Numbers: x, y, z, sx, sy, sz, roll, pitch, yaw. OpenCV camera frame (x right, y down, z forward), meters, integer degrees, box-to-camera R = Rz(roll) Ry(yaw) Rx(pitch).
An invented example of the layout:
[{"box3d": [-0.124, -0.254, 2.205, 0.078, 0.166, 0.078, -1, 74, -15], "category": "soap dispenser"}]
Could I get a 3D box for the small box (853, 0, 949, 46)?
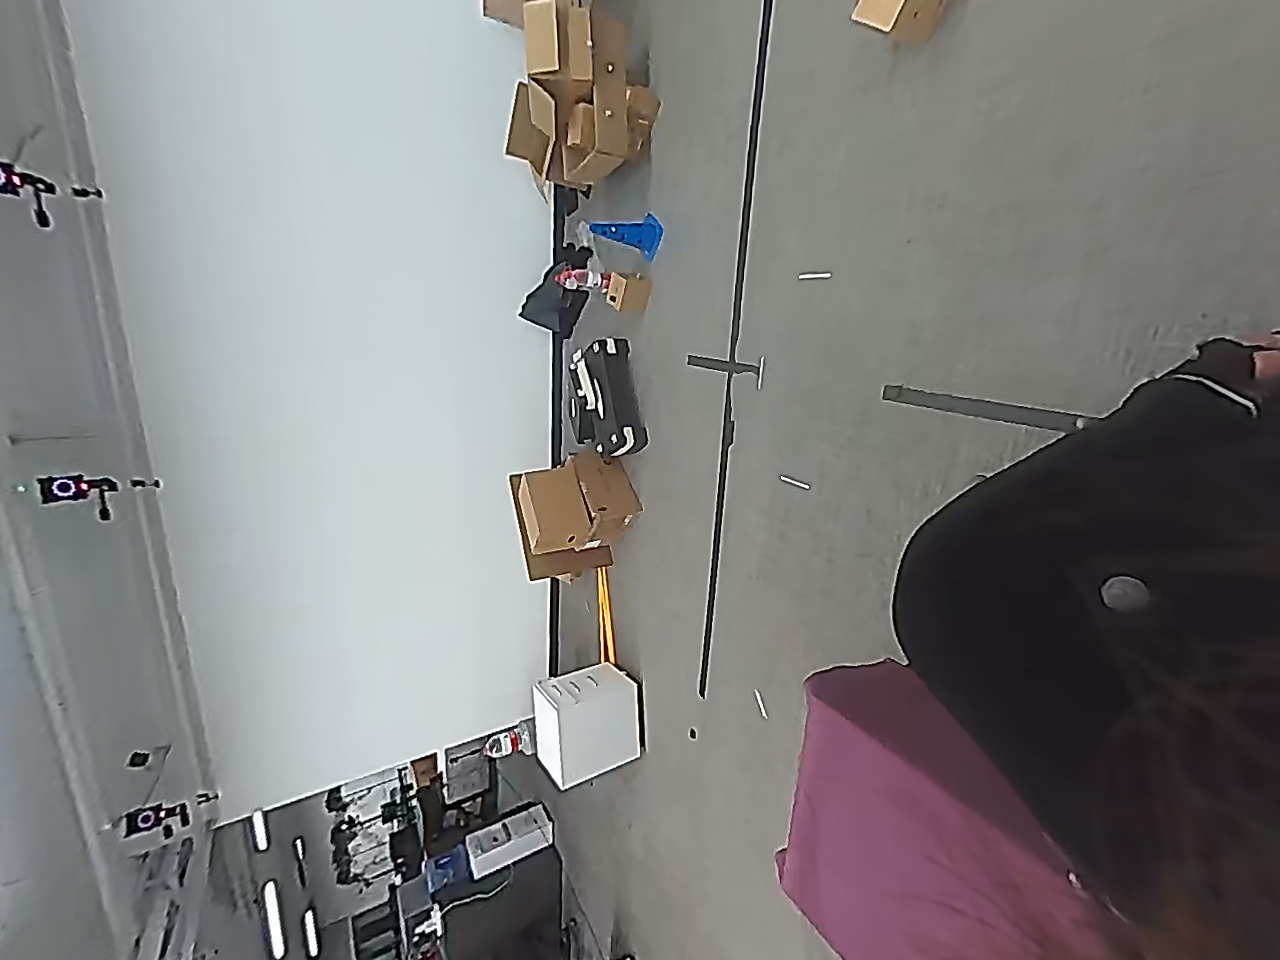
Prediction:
[{"box3d": [0.772, -1.399, 1.571, 0.179, 0.176, 0.168, 60, 142, 34], "category": "small box"}]
